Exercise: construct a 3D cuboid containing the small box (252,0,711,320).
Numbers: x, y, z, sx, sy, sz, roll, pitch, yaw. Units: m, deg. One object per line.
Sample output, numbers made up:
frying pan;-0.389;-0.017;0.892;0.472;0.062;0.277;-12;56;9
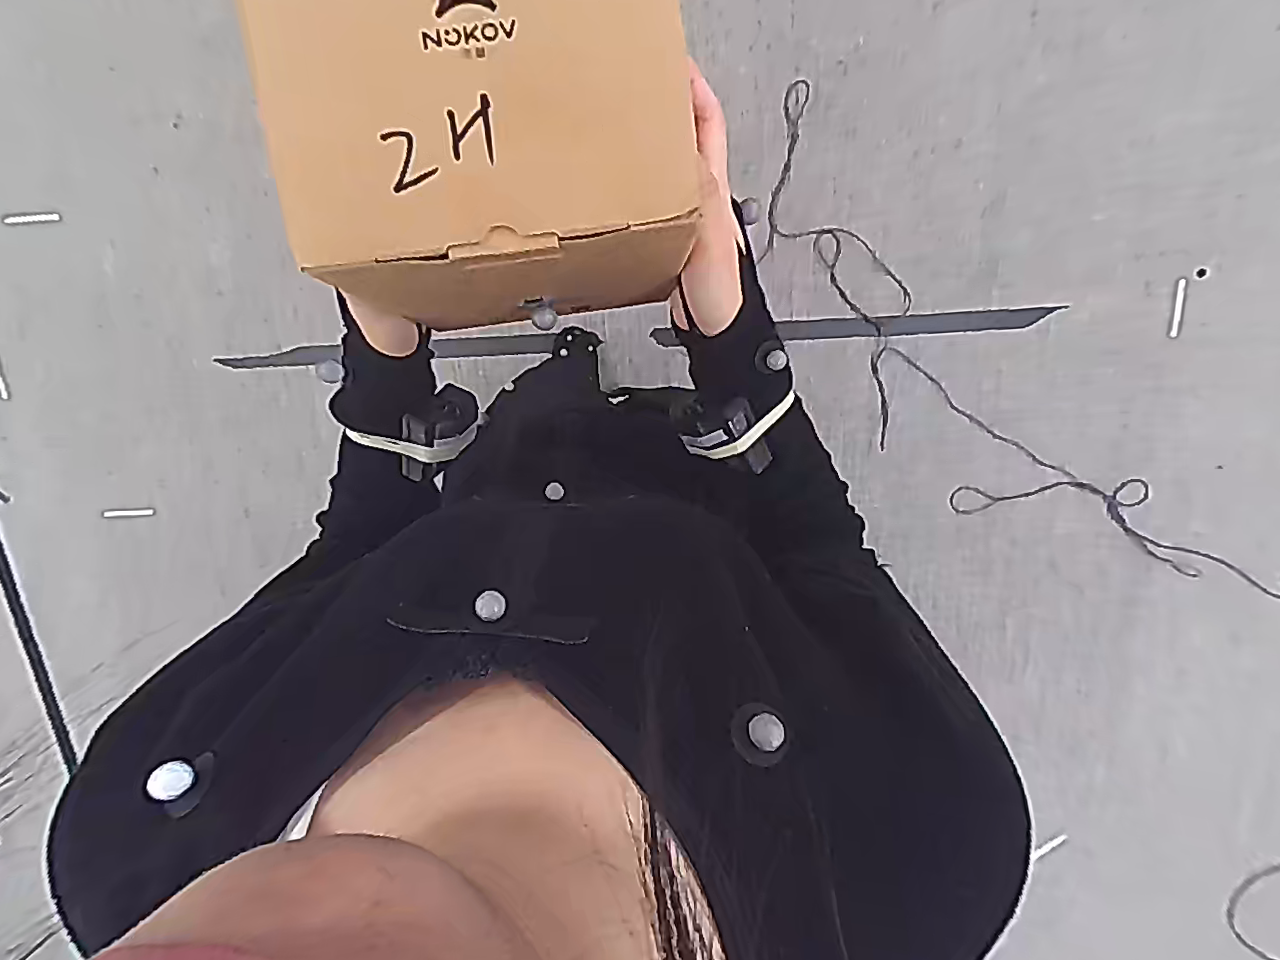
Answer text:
small box;-0.066;-0.194;0.282;0.168;0.176;0.179;-8;98;-1
